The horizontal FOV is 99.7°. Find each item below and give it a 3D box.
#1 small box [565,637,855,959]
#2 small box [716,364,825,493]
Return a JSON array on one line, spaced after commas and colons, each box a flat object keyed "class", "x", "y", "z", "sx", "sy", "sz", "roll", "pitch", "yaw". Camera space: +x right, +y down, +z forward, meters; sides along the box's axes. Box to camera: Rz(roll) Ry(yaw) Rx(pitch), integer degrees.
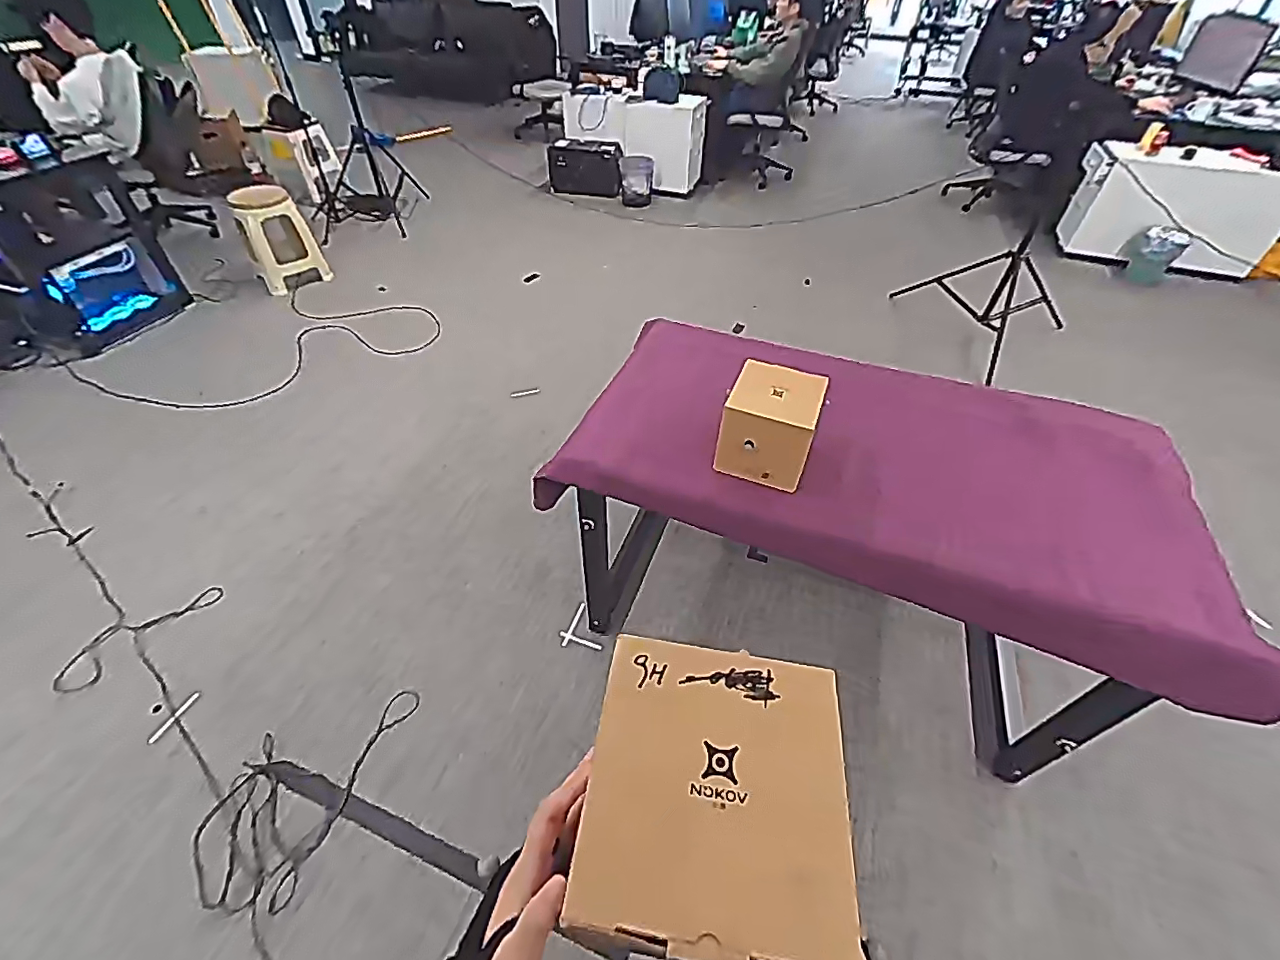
[{"class": "small box", "x": 0.048, "y": 0.249, "z": 0.413, "sx": 0.168, "sy": 0.176, "sz": 0.179, "roll": 9, "pitch": 48, "yaw": 4}, {"class": "small box", "x": 0.255, "y": -0.102, "z": 1.082, "sx": 0.168, "sy": 0.176, "sz": 0.179, "roll": 17, "pitch": 46, "yaw": 14}]
